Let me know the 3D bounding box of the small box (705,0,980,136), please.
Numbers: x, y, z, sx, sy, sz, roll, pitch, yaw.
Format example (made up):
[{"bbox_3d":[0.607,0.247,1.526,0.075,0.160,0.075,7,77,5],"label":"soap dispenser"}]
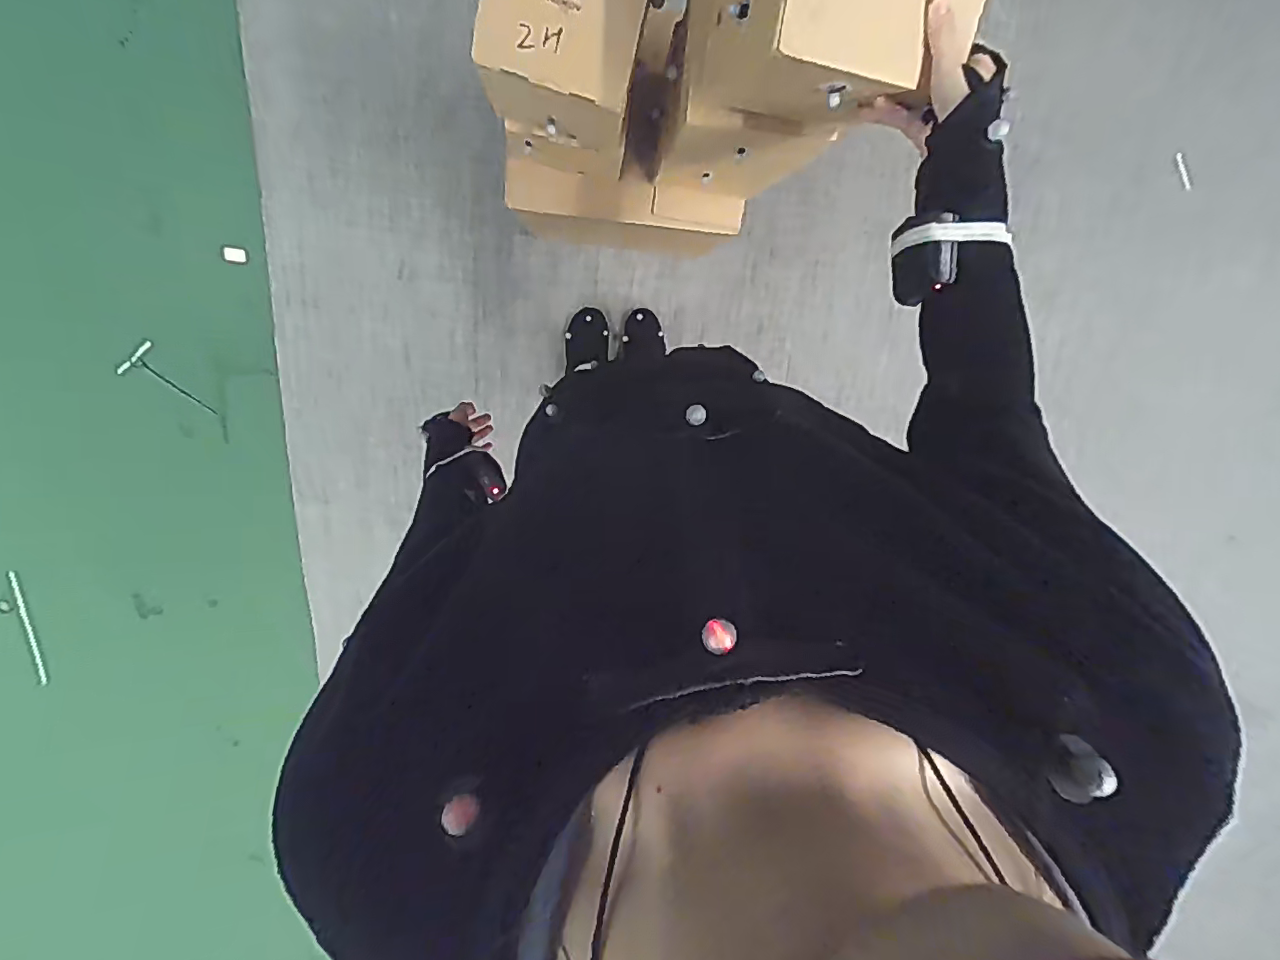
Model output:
[{"bbox_3d":[0.174,-0.427,0.484,0.179,0.176,0.168,2,113,-16],"label":"small box"}]
